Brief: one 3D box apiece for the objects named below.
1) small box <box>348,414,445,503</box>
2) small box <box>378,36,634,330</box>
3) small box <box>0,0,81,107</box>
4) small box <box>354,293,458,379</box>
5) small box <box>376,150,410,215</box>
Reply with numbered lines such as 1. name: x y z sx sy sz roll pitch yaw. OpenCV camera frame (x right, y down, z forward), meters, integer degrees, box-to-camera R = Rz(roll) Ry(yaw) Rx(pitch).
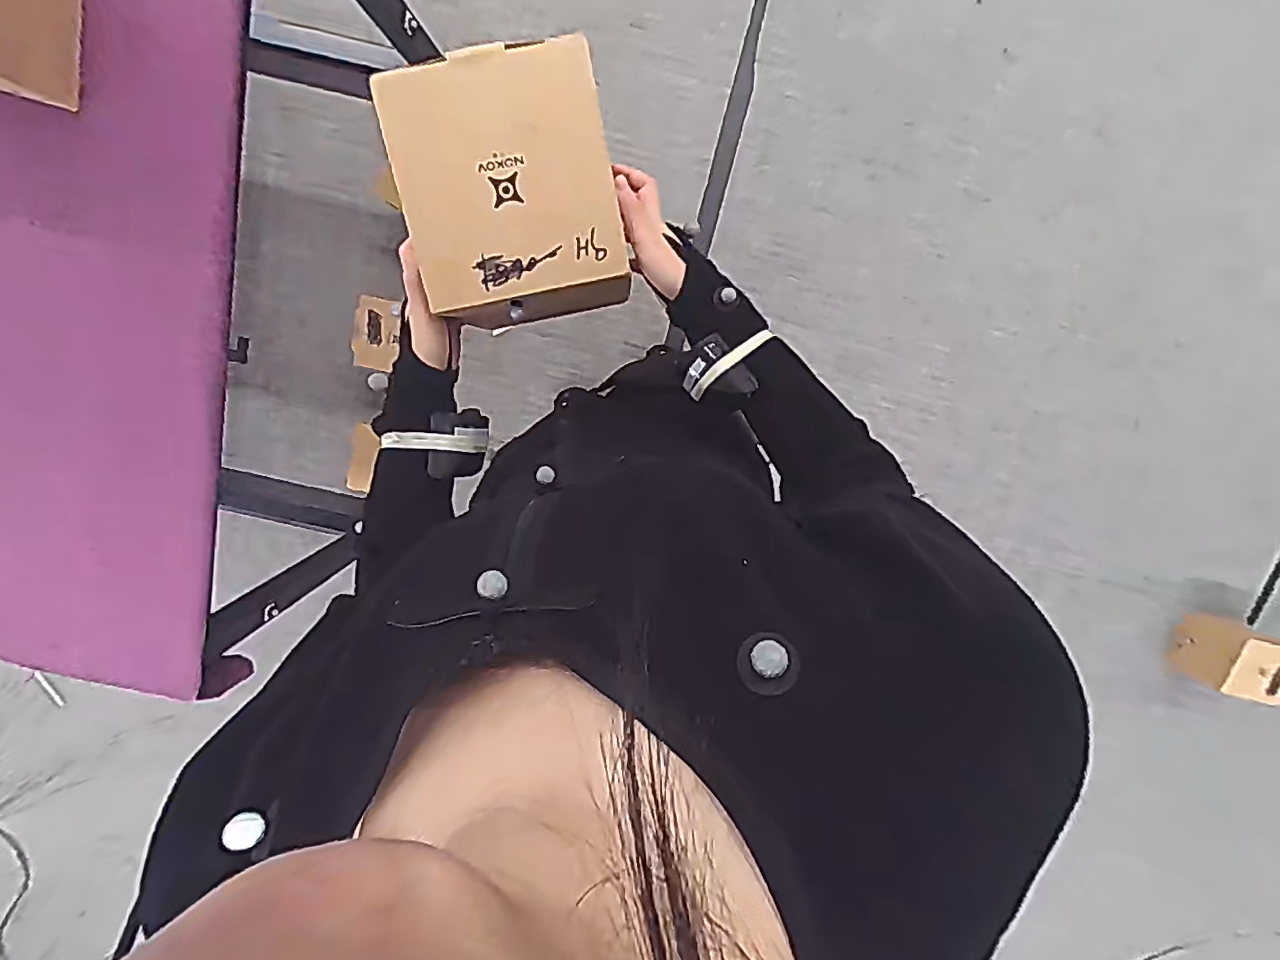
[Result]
1. small box: -0.632 -0.062 1.418 0.168 0.176 0.179 16 102 -4
2. small box: -0.102 -0.245 0.492 0.168 0.176 0.179 -11 101 1
3. small box: -0.739 -0.535 0.557 0.168 0.176 0.179 16 104 -2
4. small box: -0.576 -0.354 1.347 0.179 0.176 0.168 13 103 -3
5. small box: -0.475 -0.687 1.269 0.168 0.176 0.179 30 103 -7
